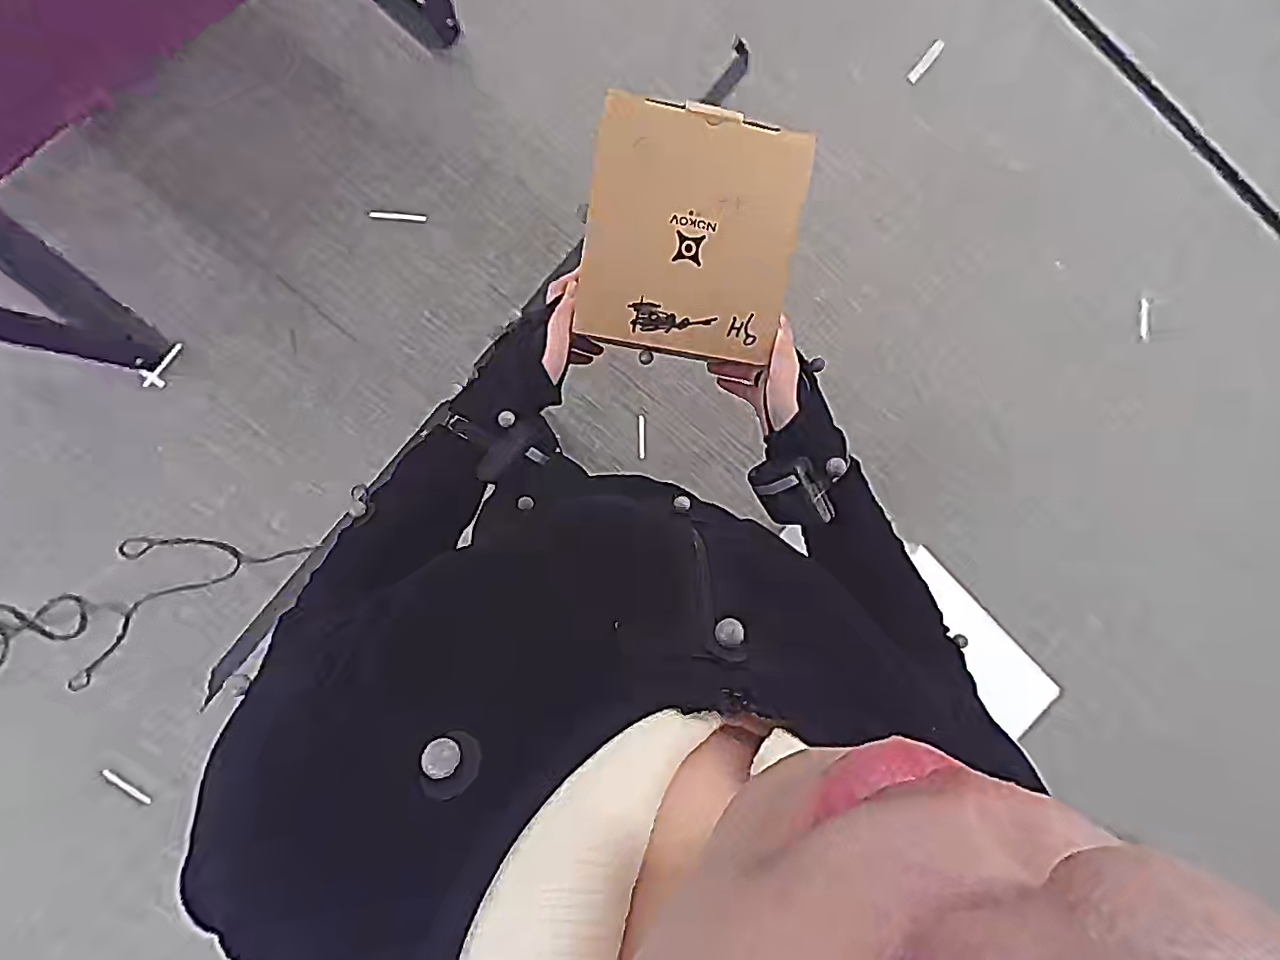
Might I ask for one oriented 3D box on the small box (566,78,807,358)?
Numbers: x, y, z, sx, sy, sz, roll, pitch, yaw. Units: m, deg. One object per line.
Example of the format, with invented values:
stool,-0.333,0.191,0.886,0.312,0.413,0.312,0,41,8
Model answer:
small box,0.028,-0.213,0.494,0.168,0.176,0.179,8,102,-6
